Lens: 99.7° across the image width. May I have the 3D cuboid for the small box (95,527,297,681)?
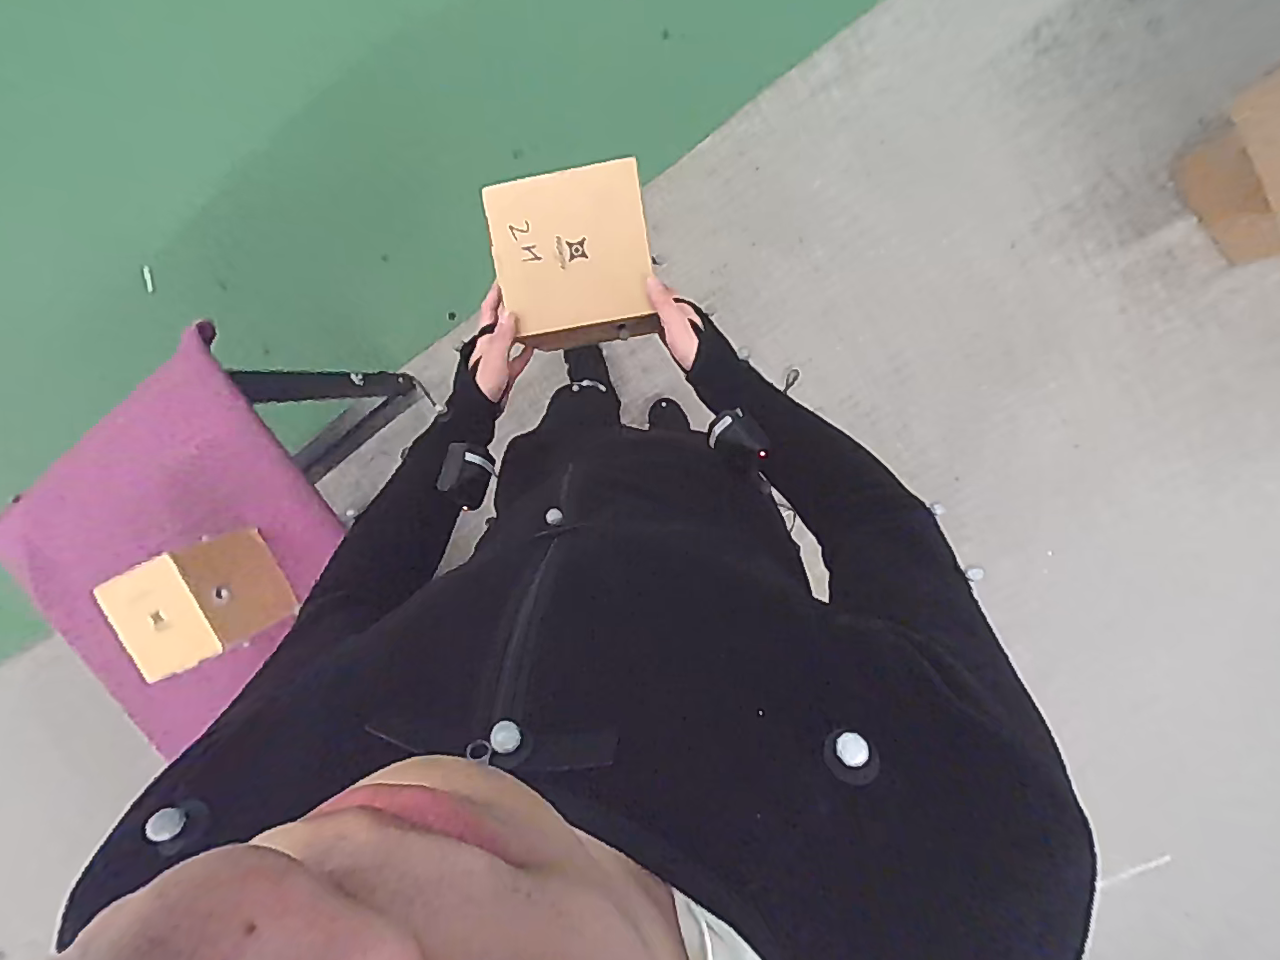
[{"bbox_3d":[-0.740,0.204,0.924,0.168,0.176,0.179,-23,97,11],"label":"small box"}]

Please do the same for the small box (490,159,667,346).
[{"bbox_3d":[-0.062,-0.265,0.670,0.179,0.176,0.168,-7,98,6],"label":"small box"}]
